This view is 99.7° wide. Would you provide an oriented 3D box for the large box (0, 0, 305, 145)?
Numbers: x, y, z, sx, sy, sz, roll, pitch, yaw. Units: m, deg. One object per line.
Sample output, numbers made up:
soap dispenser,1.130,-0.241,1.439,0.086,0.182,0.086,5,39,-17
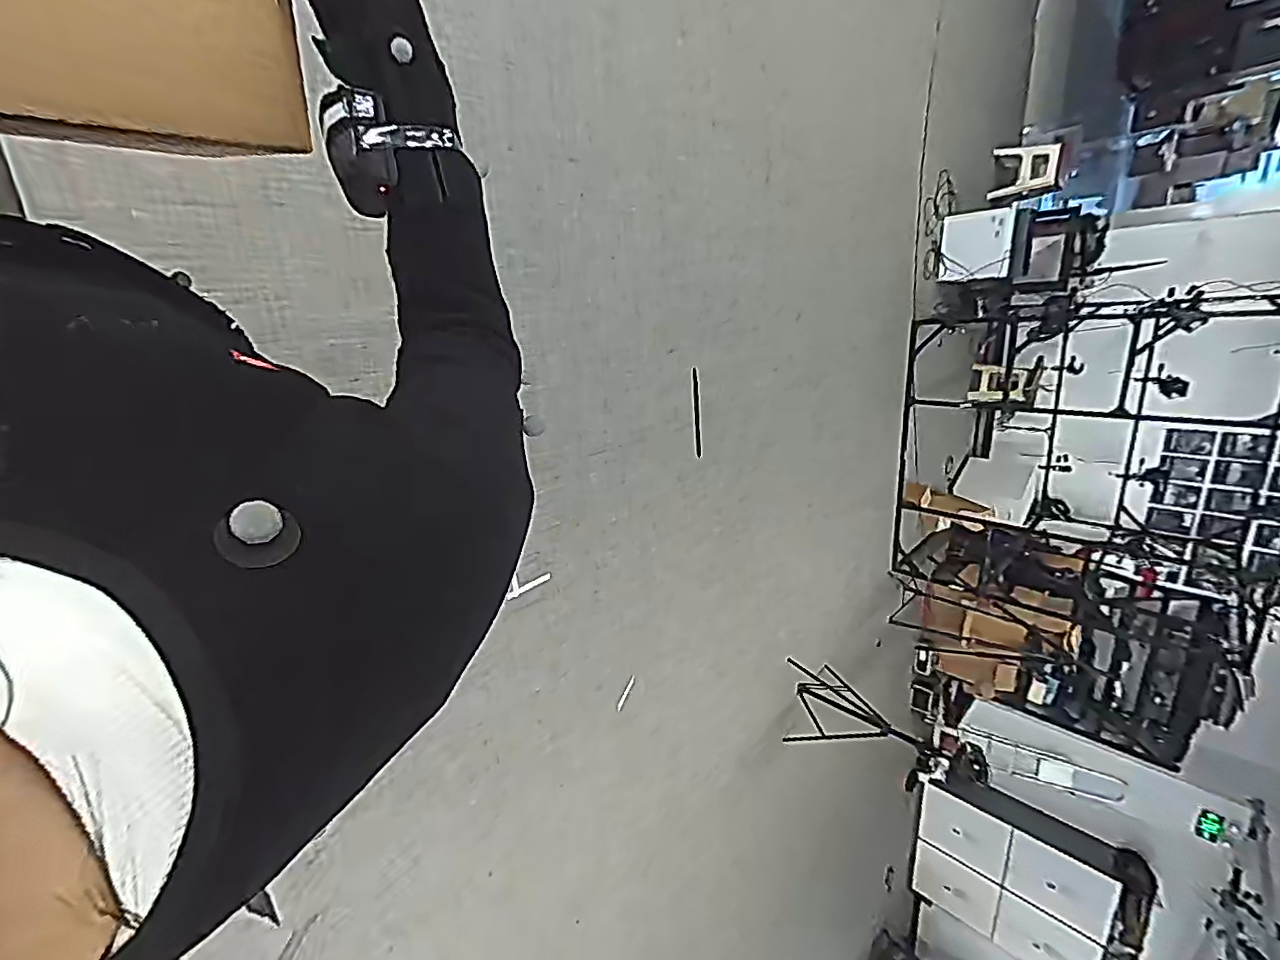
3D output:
large box,-0.469,-0.375,0.276,0.408,0.320,0.320,-20,127,-41
